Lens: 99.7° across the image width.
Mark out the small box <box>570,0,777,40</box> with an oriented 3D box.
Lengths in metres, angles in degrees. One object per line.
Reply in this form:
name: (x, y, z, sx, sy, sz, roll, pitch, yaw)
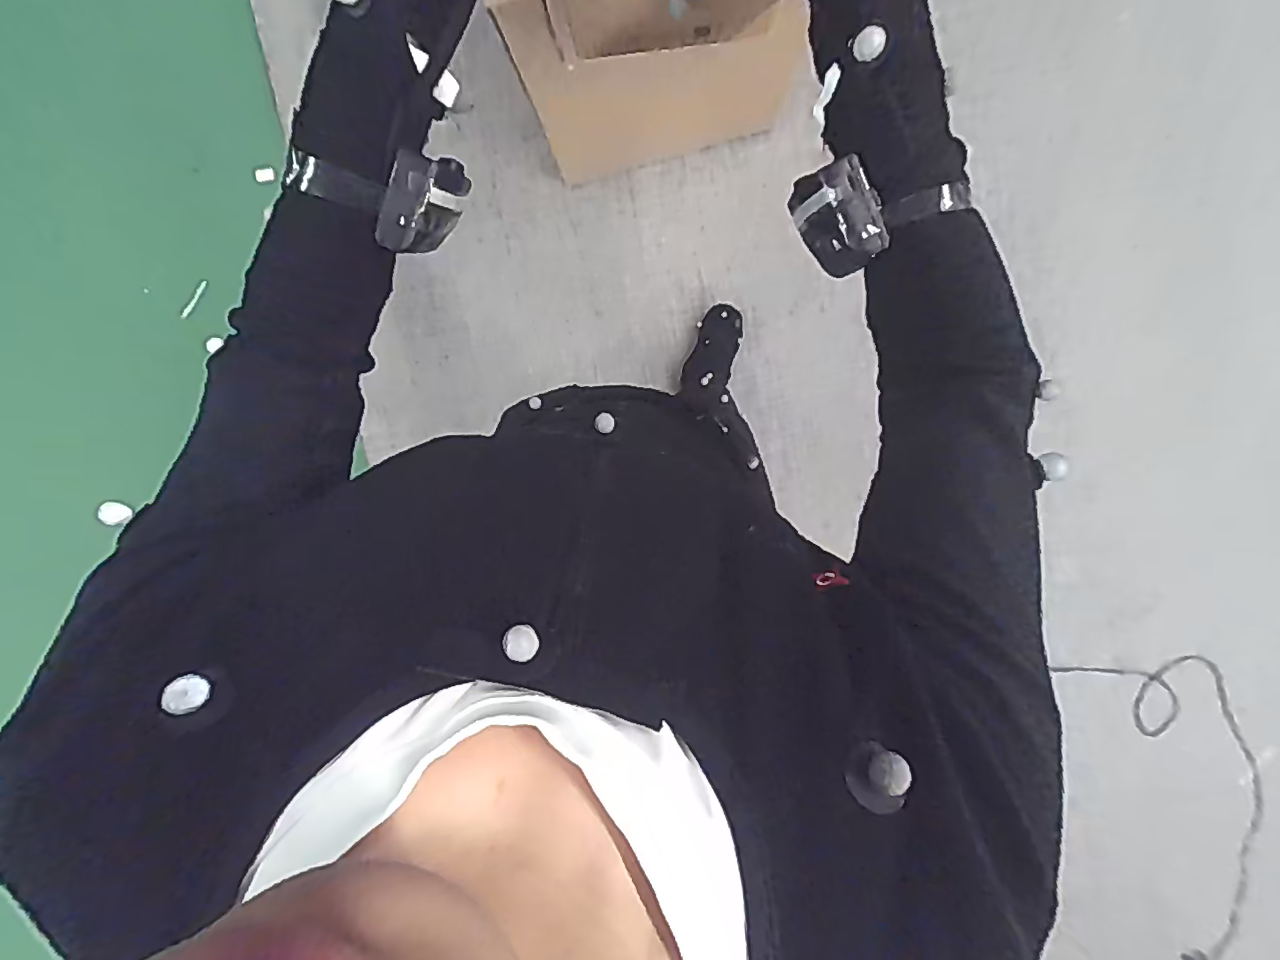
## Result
small box: (0.019, -0.433, 0.358, 0.168, 0.176, 0.179, -5, 102, 3)
